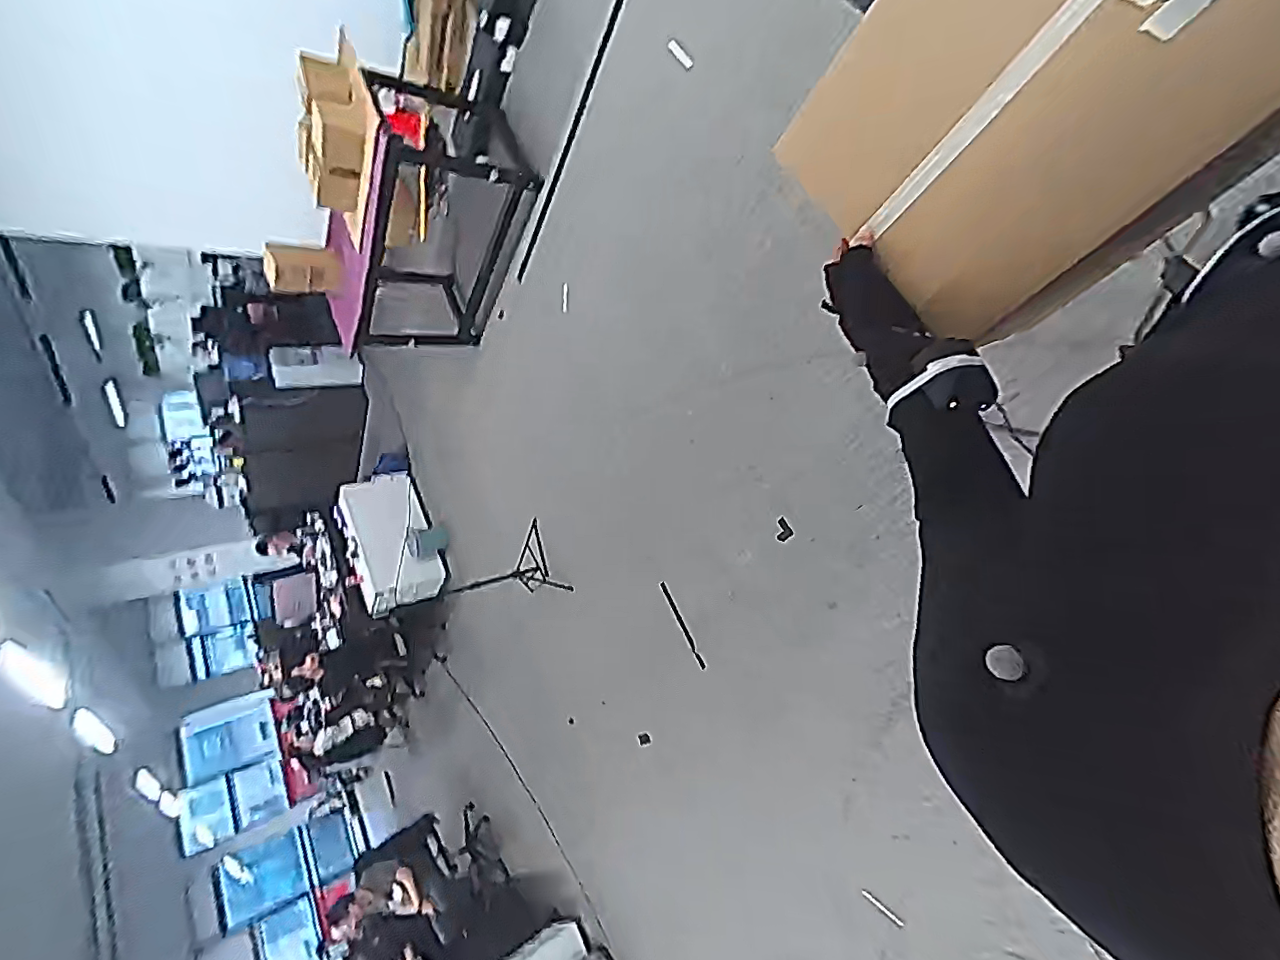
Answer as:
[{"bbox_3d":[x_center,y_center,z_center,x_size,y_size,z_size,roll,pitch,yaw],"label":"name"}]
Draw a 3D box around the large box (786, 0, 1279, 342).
[{"bbox_3d":[0.443,-0.399,0.551,0.320,0.320,0.408,57,137,13],"label":"large box"}]
